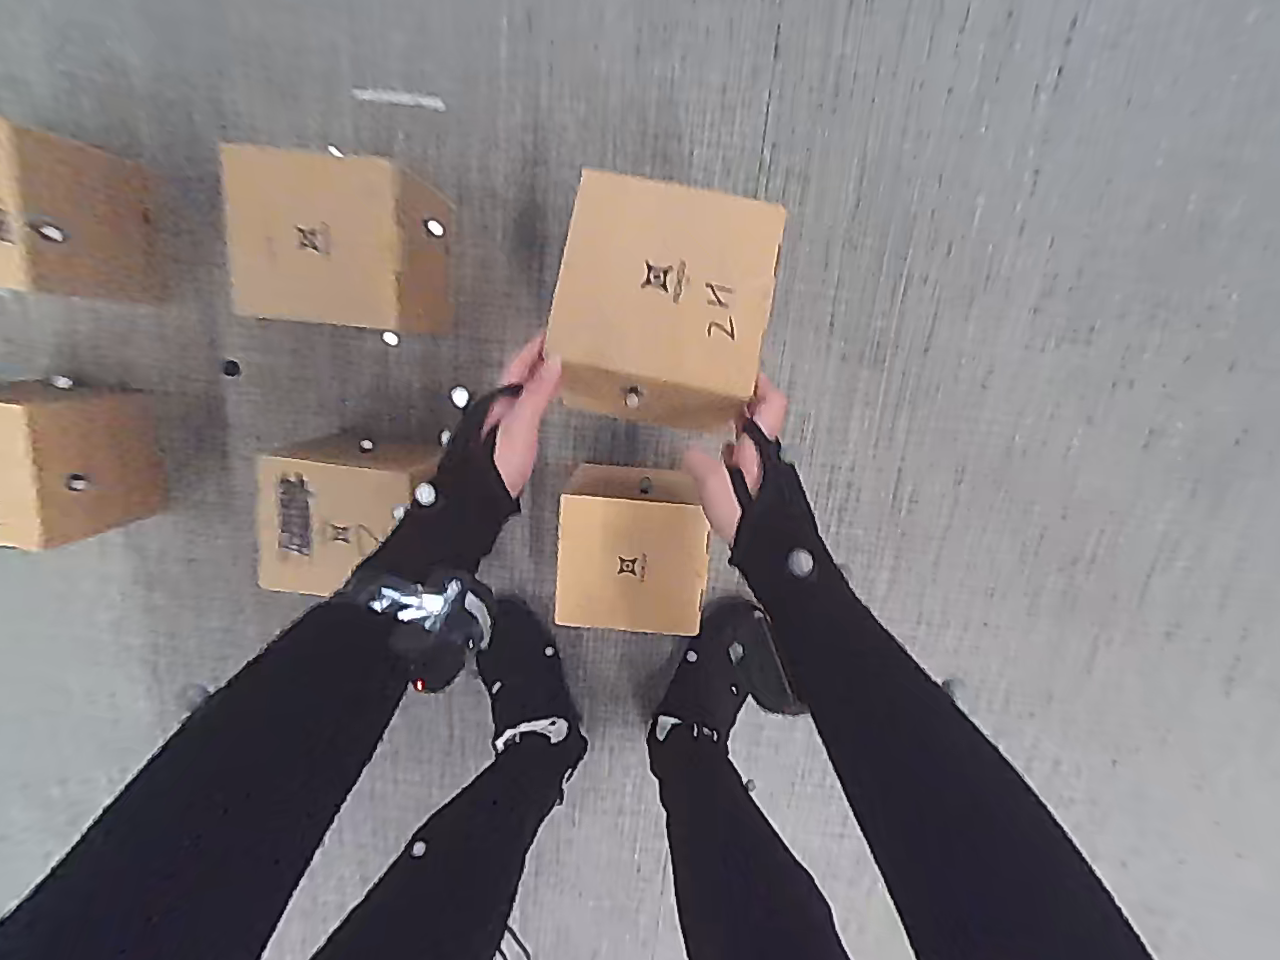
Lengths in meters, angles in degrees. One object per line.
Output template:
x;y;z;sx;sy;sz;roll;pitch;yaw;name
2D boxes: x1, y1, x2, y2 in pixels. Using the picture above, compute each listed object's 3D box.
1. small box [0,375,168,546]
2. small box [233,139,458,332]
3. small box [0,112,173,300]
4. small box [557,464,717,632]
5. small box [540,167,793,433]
-0.754;-0.034;0.691;0.168;0.176;0.179;7;102;-1;small box
-0.323;-0.267;0.630;0.179;0.176;0.168;6;102;0;small box
-0.698;-0.311;0.626;0.179;0.176;0.168;9;103;0;small box
-0.006;0.078;0.707;0.179;0.176;0.168;5;103;-1;small box
0.023;-0.149;0.506;0.179;0.176;0.168;12;84;1;small box
